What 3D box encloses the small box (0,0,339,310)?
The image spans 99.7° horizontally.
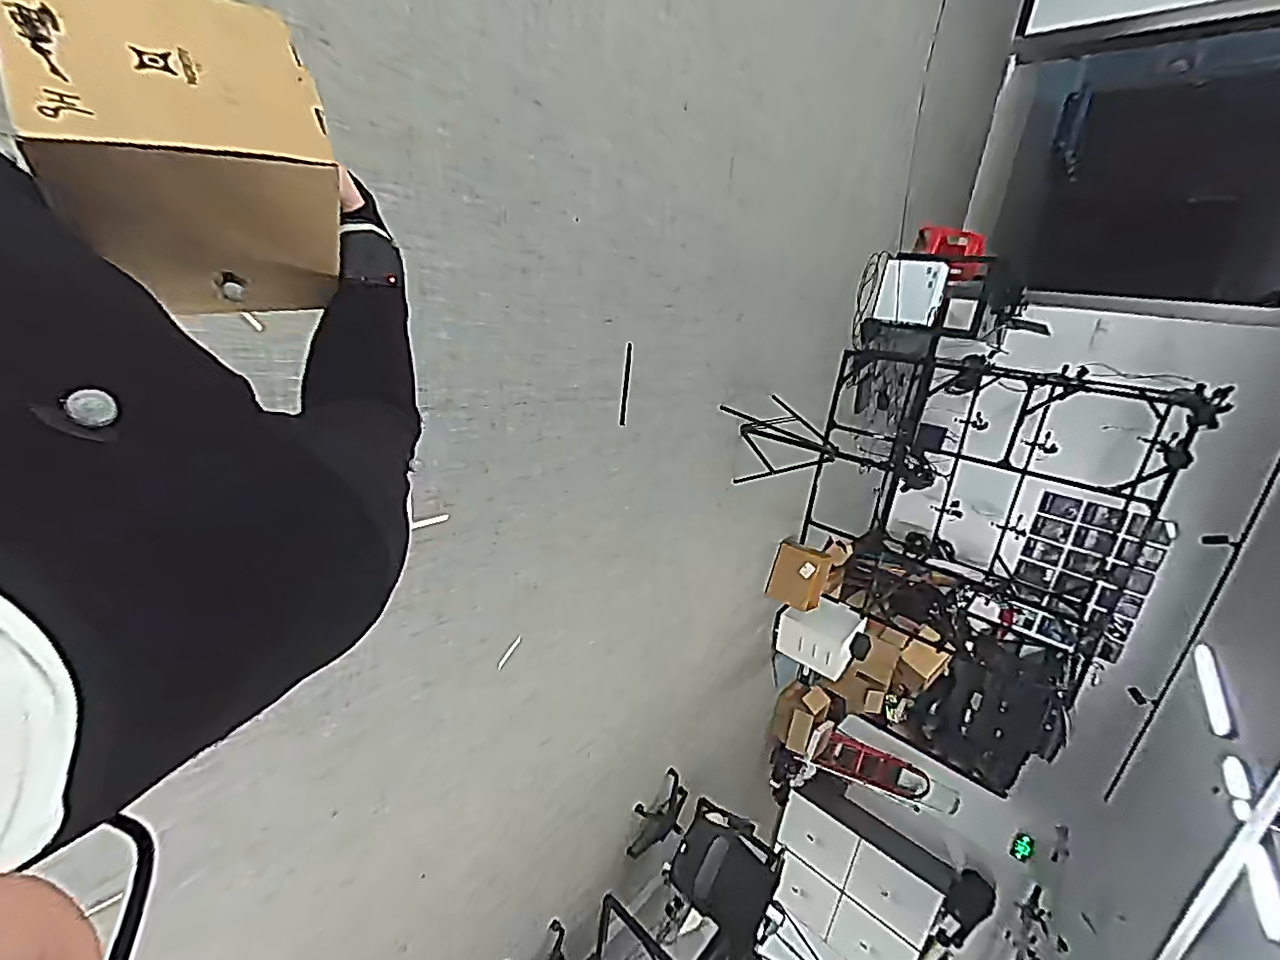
[{"bbox_3d":[-0.380,-0.266,0.464,0.179,0.168,0.176,-16,164,-35],"label":"small box"}]
